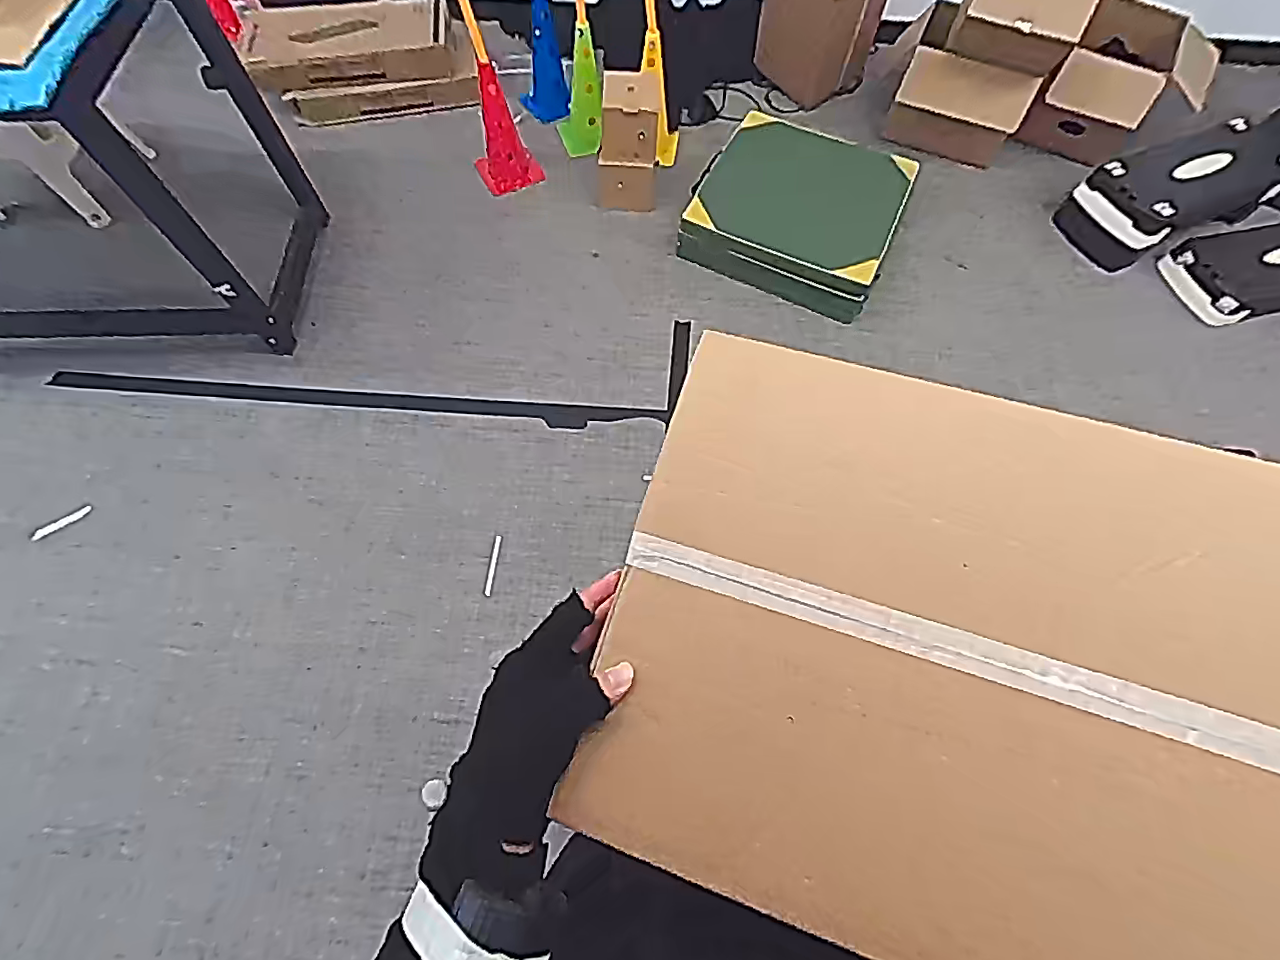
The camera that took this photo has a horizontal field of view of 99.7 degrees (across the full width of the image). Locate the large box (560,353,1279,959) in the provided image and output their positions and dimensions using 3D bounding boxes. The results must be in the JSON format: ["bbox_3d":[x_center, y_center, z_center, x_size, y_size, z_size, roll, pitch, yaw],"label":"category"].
[{"bbox_3d":[0.198,0.140,0.451,0.408,0.320,0.320,16,78,11],"label":"large box"}]
